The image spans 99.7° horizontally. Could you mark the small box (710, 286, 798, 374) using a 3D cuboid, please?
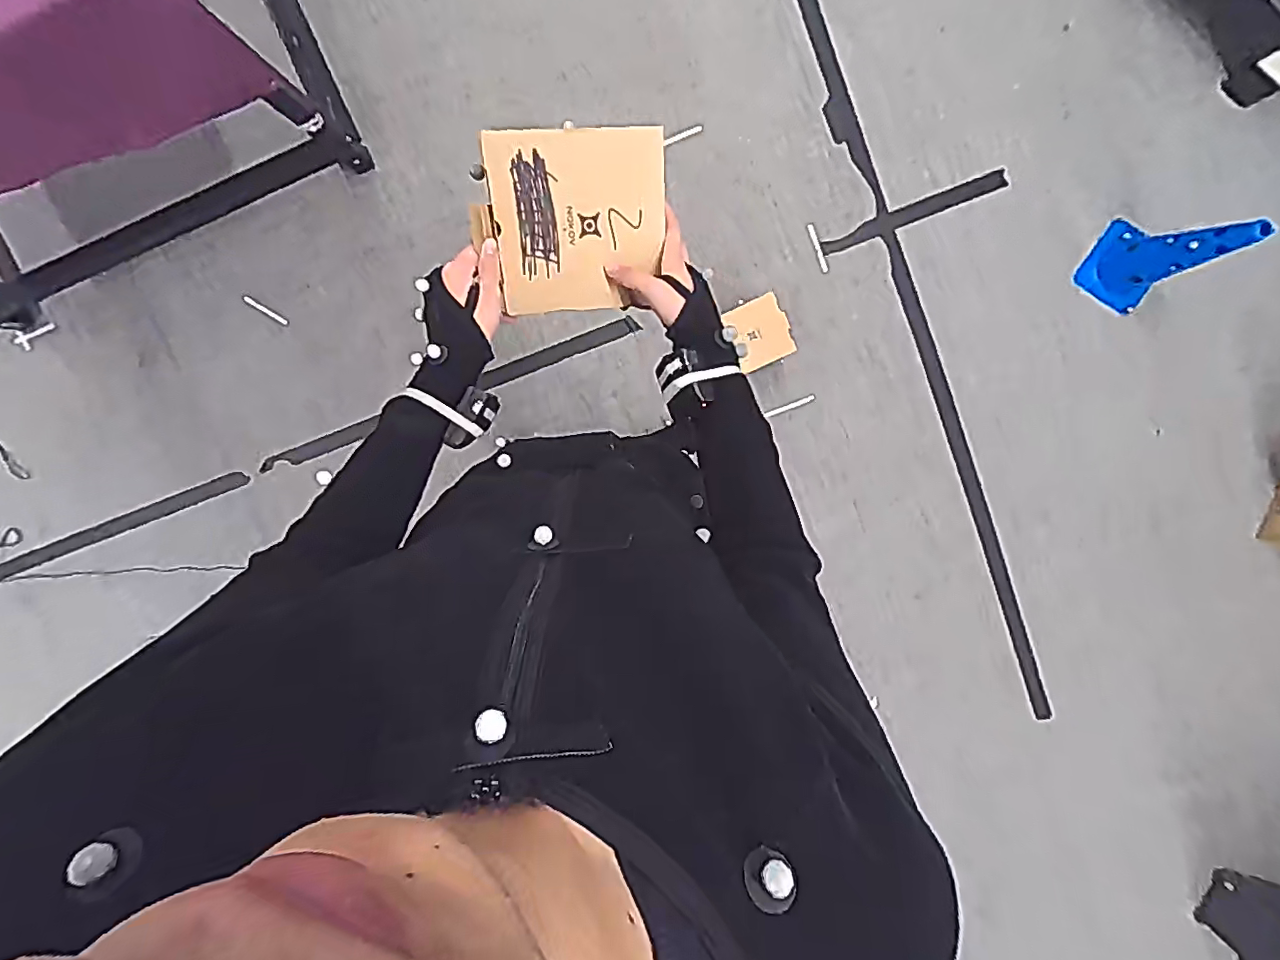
[{"bbox_3d":[0.299,-0.396,1.466,0.179,0.176,0.168,-25,98,5],"label":"small box"}]
